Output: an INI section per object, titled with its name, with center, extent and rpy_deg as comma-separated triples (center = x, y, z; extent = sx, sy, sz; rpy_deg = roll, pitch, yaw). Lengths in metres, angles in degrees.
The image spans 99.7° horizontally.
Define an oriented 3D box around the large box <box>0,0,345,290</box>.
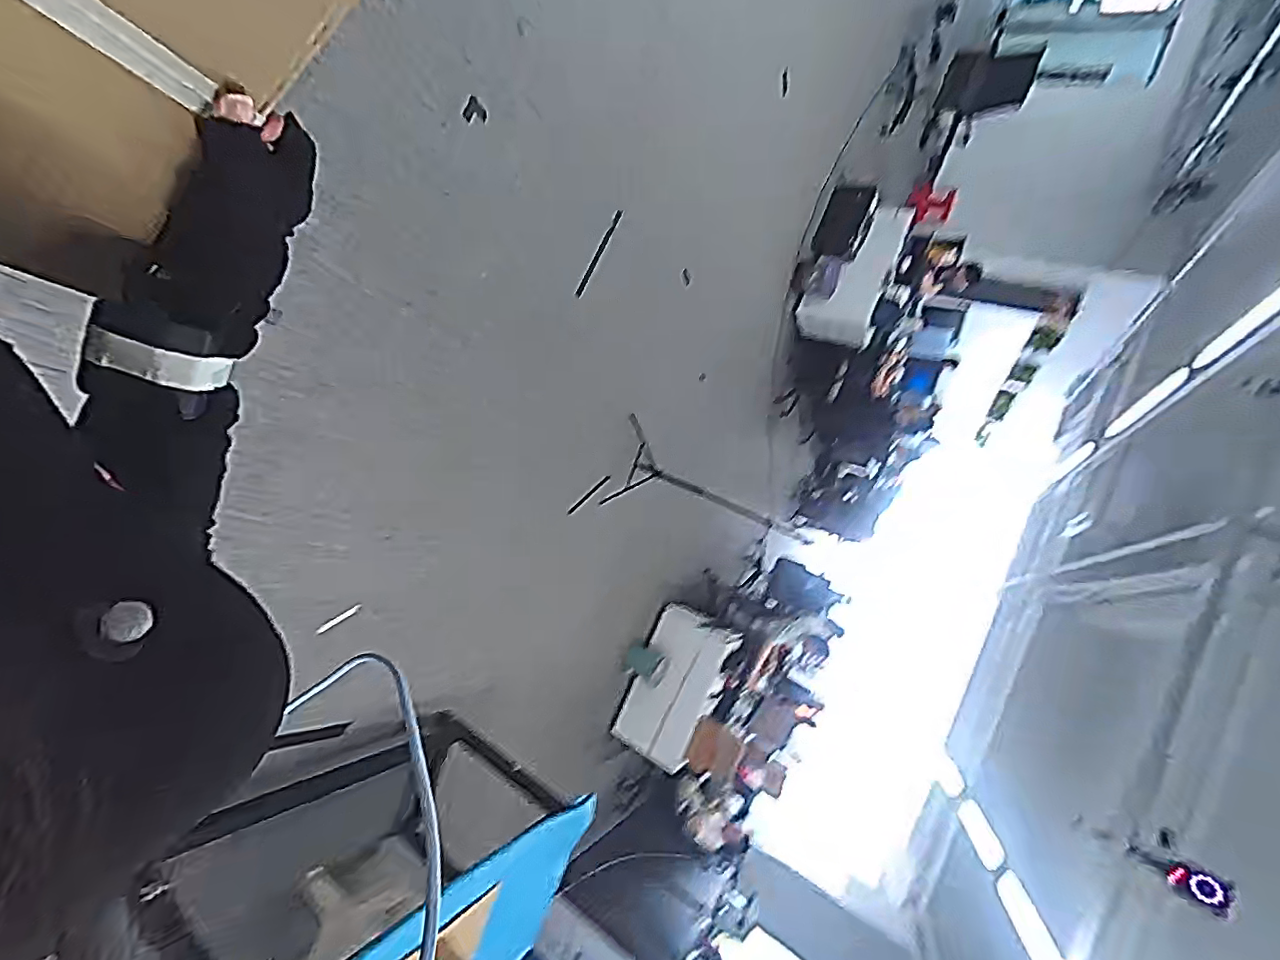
[large box]
center = -0.399, -0.363, 0.213
extent = 0.320, 0.320, 0.408
rpy_deg = -38, 158, 15
